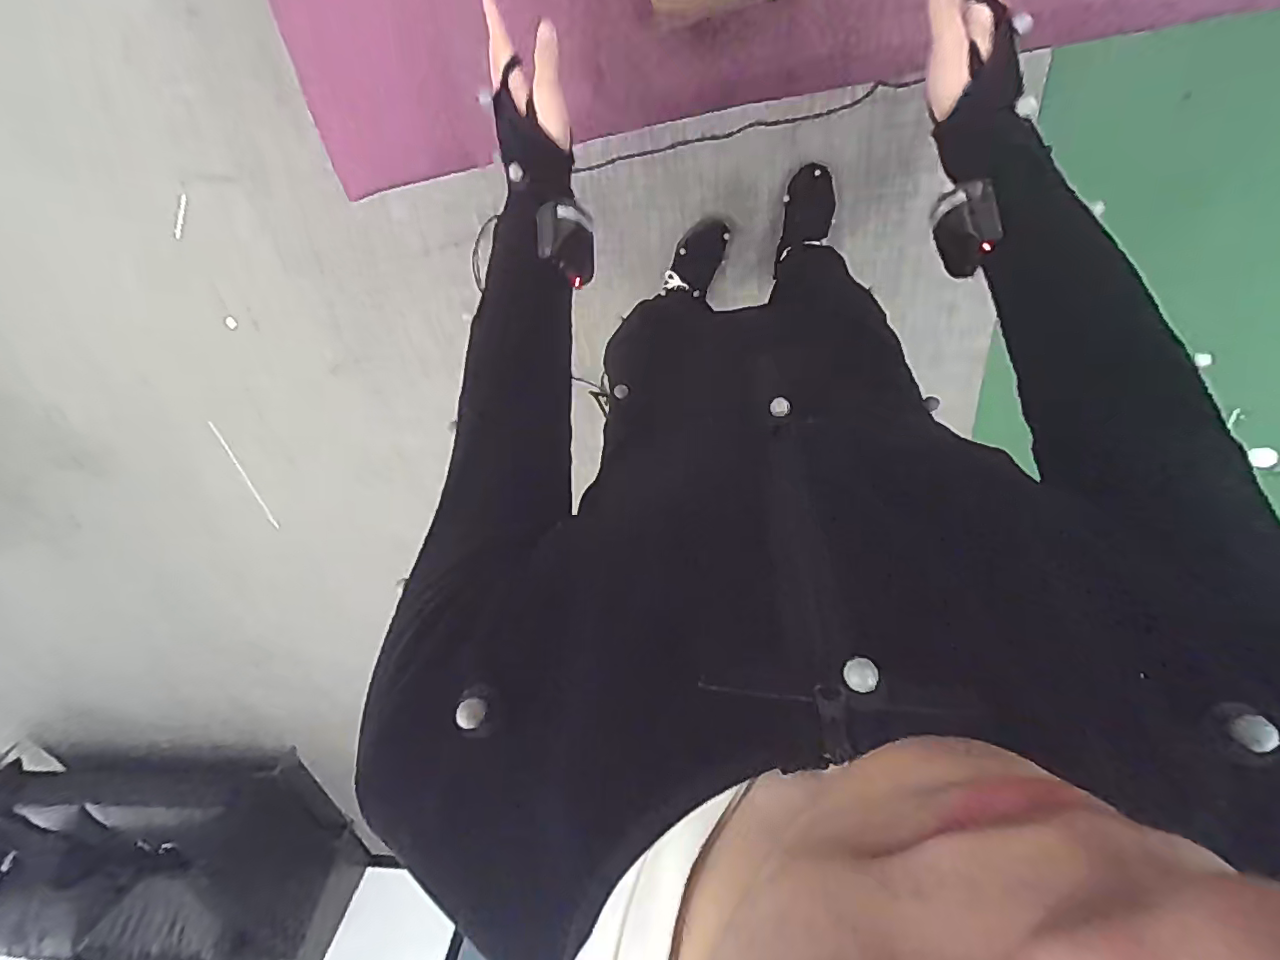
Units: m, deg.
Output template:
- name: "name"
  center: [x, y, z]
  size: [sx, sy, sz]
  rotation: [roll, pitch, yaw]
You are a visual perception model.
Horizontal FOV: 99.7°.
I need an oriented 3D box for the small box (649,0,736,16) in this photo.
- name: "small box"
  center: [0.076, -0.556, 0.489]
  size: [0.168, 0.176, 0.179]
  rotation: [-7, 119, 12]
